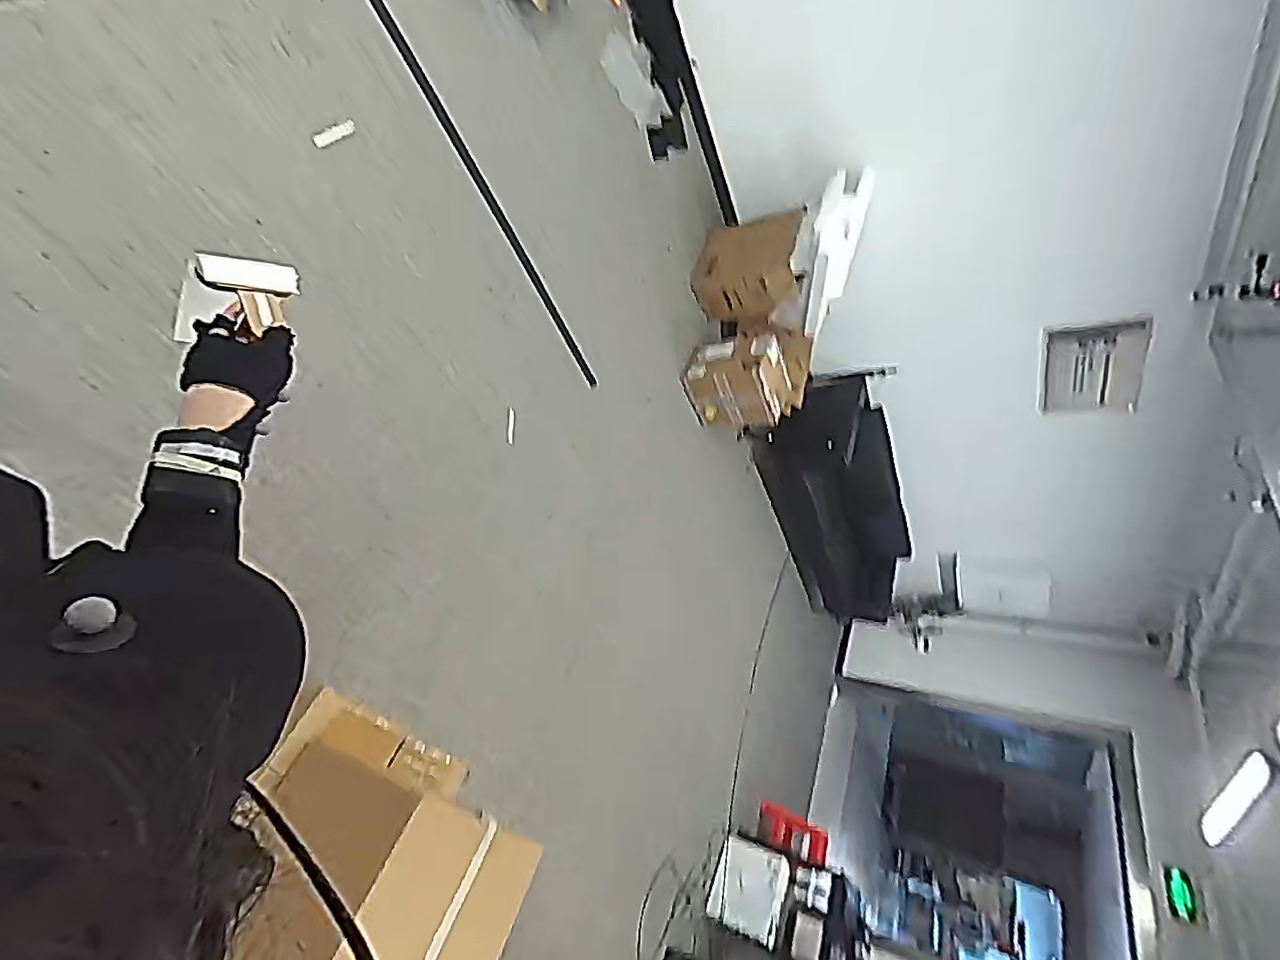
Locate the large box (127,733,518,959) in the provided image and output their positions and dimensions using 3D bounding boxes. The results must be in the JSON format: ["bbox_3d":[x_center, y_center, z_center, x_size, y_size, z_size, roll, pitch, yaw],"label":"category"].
[{"bbox_3d":[-0.462,0.659,0.794,0.320,0.320,0.408,59,45,-39],"label":"large box"}]
